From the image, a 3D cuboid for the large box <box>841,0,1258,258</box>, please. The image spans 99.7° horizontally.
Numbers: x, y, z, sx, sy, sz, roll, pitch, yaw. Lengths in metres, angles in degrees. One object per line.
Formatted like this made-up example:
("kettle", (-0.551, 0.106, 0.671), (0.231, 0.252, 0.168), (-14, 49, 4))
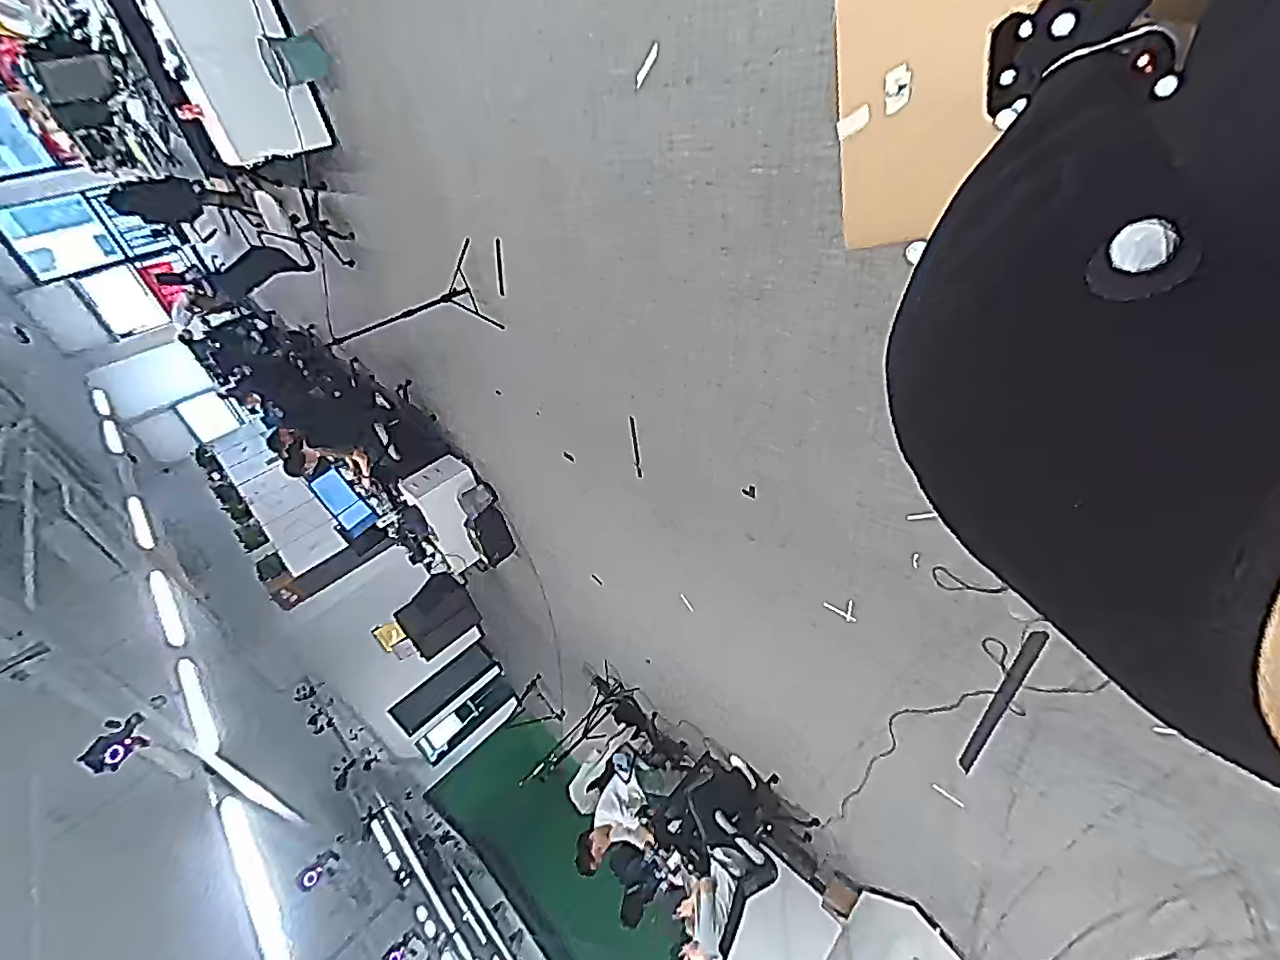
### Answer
("large box", (0.524, -0.500, 0.724), (0.320, 0.408, 0.320), (25, 130, 52))
